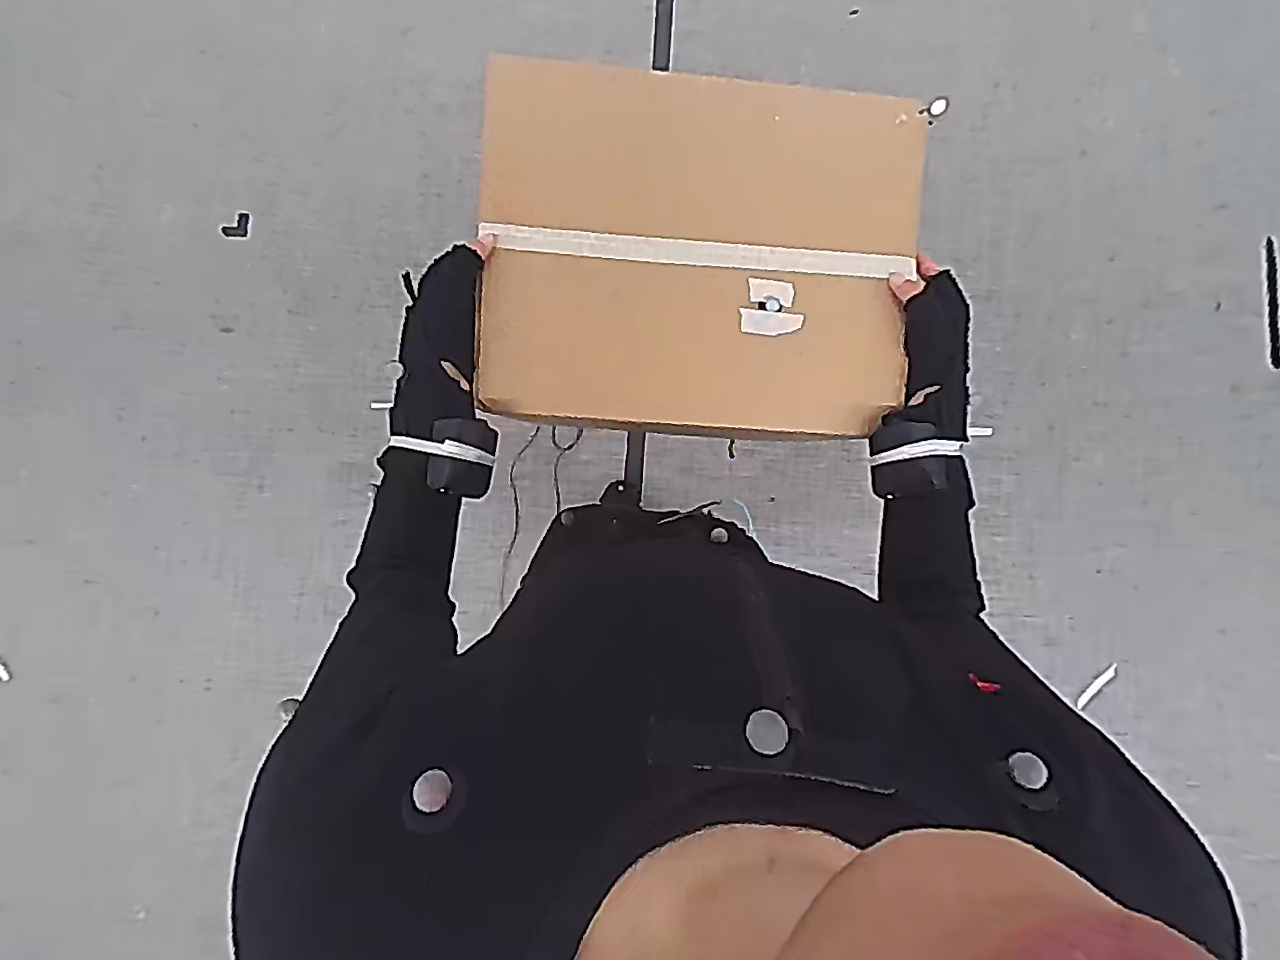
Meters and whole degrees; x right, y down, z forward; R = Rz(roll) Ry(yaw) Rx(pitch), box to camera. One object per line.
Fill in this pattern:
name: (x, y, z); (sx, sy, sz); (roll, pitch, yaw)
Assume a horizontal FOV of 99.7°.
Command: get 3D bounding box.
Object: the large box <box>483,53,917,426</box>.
large box: (0.046, -0.233, 0.657); (0.408, 0.320, 0.320); (4, 95, -4)
